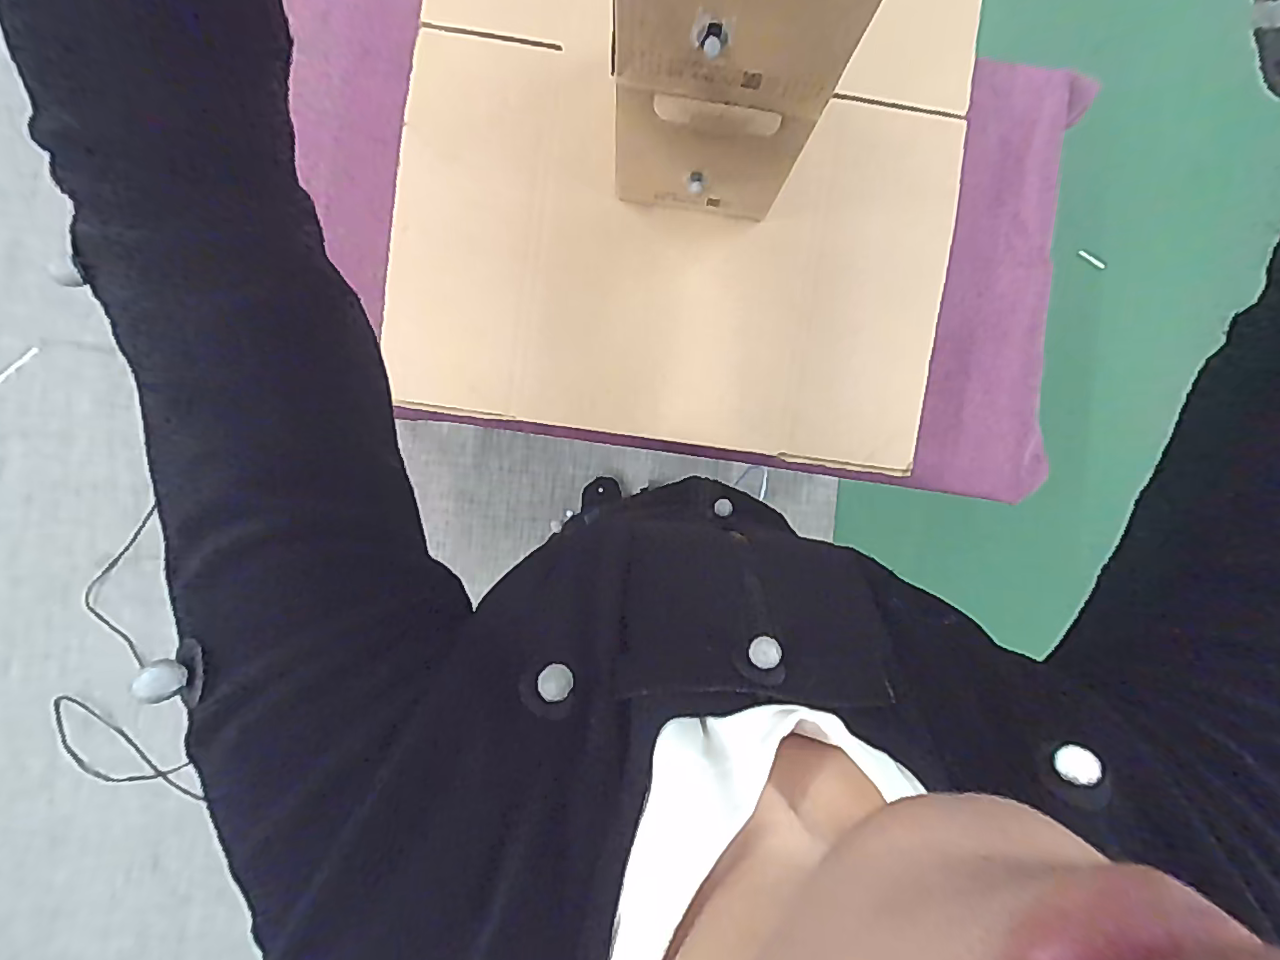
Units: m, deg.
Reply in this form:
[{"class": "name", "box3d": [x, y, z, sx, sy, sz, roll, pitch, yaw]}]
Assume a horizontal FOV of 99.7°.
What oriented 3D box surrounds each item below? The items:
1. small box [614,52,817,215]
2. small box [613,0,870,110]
[{"class": "small box", "box3d": [0.067, -0.386, 0.508, 0.168, 0.176, 0.179, 8, 88, -2]}, {"class": "small box", "box3d": [0.073, -0.389, 0.345, 0.168, 0.176, 0.179, 8, 89, -3]}]
